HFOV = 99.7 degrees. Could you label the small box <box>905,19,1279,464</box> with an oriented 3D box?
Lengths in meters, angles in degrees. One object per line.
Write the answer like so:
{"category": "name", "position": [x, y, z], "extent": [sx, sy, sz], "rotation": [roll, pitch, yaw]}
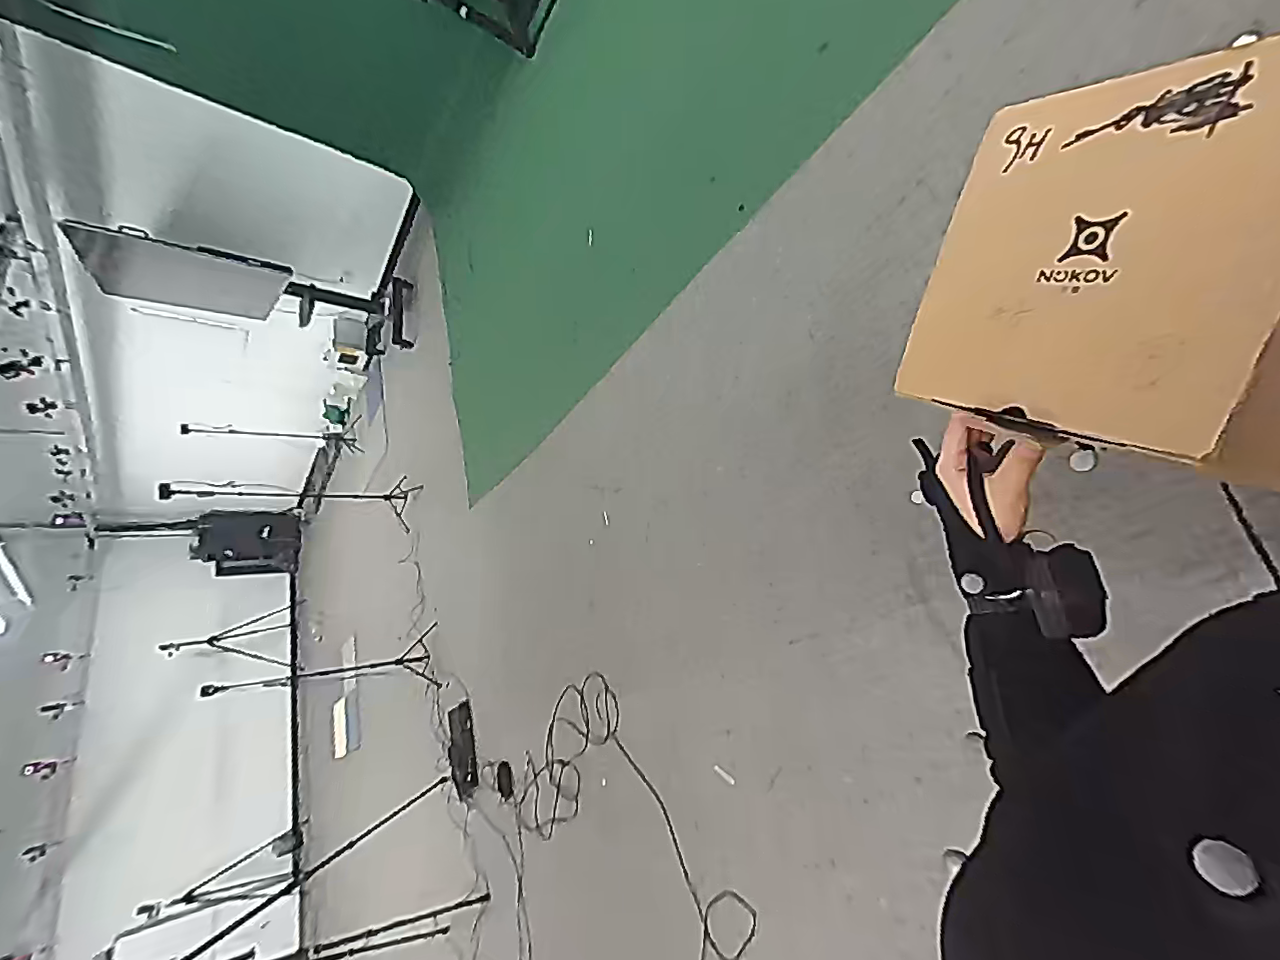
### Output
{"category": "small box", "position": [0.304, -0.117, 0.317], "extent": [0.168, 0.176, 0.179], "rotation": [39, 118, 58]}
